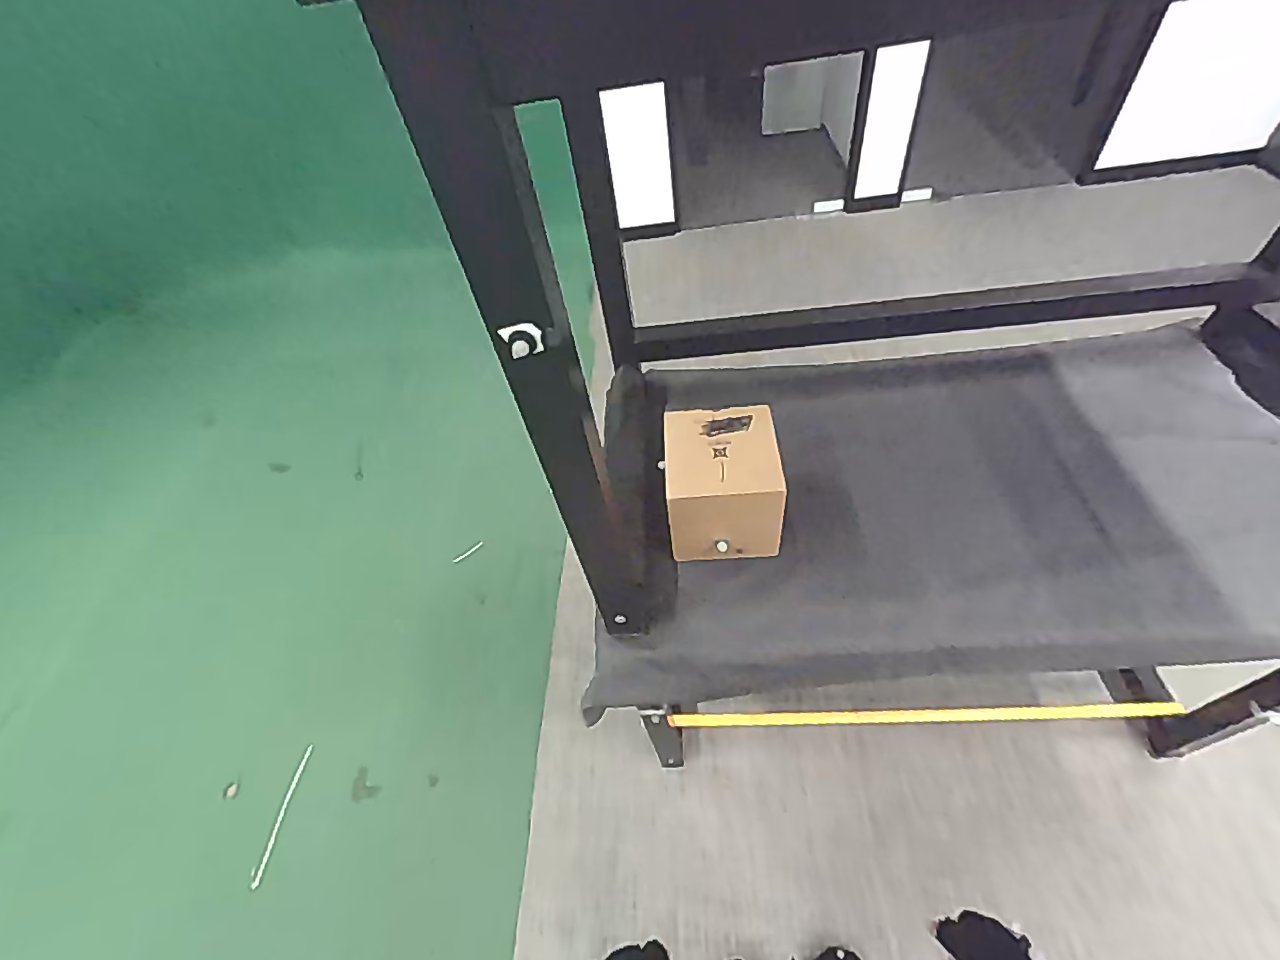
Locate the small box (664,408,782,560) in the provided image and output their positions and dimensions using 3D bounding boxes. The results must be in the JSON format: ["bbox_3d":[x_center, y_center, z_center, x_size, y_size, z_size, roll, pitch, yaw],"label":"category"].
[{"bbox_3d":[0.125,0.008,0.861,0.168,0.176,0.179,-4,50,6],"label":"small box"}]
